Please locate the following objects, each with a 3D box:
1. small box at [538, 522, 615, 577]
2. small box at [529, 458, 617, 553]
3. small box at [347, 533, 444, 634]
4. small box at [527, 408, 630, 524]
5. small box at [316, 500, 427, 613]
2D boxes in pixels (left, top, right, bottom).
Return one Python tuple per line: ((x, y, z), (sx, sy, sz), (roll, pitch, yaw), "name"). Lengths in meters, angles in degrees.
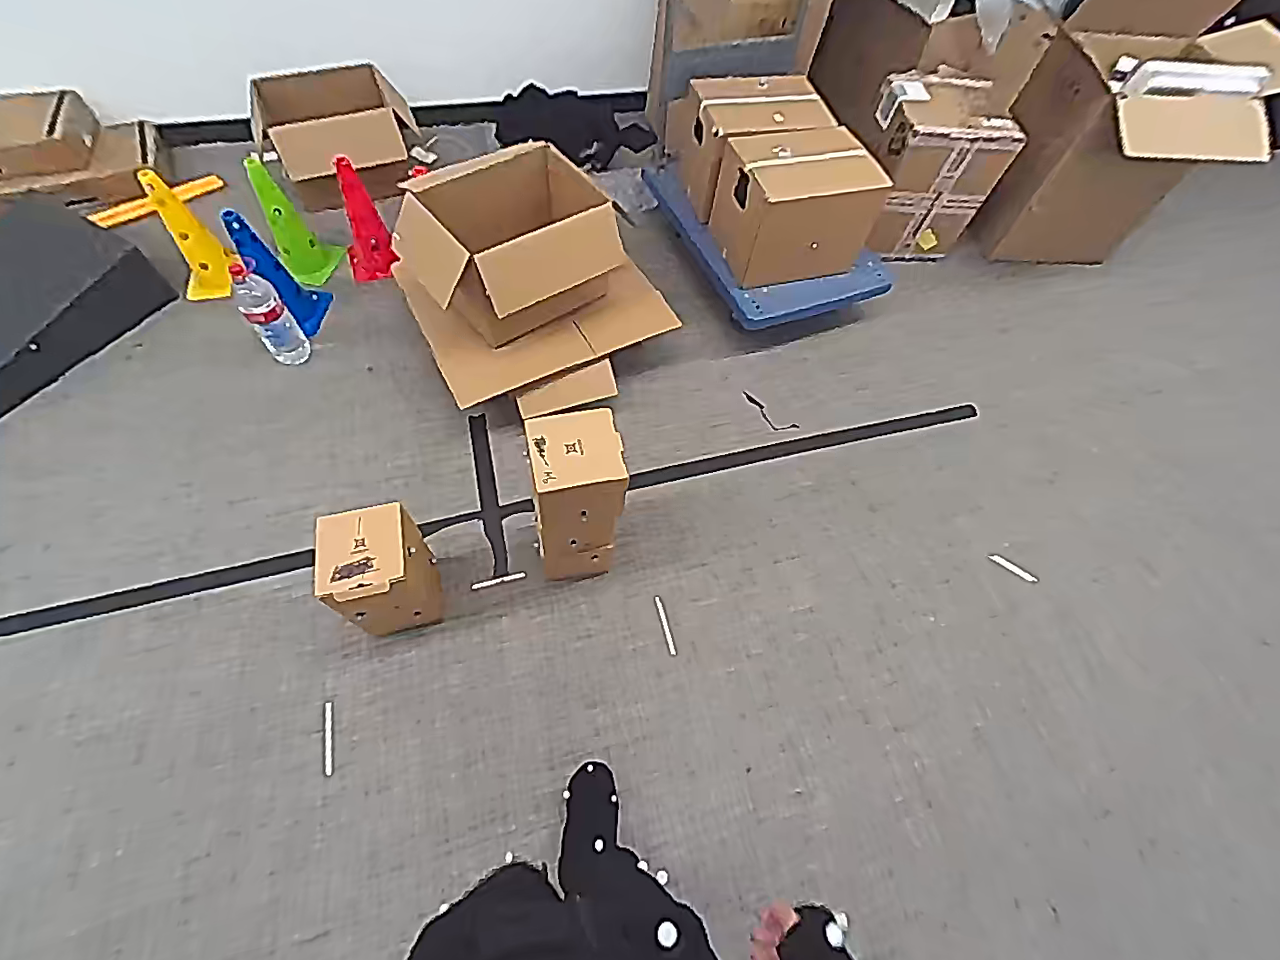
((-0.167, 0.135, 1.382), (0.179, 0.176, 0.168), (-8, 62, -10), "small box")
((-0.157, 0.046, 1.246), (0.168, 0.176, 0.179), (-11, 64, -12), "small box")
((-0.578, 0.248, 1.284), (0.179, 0.176, 0.168), (-15, 63, -12), "small box")
((-0.129, -0.025, 1.101), (0.179, 0.176, 0.168), (-9, 64, -12), "small box")
((-0.559, 0.169, 1.141), (0.168, 0.176, 0.179), (-12, 62, -11), "small box")
